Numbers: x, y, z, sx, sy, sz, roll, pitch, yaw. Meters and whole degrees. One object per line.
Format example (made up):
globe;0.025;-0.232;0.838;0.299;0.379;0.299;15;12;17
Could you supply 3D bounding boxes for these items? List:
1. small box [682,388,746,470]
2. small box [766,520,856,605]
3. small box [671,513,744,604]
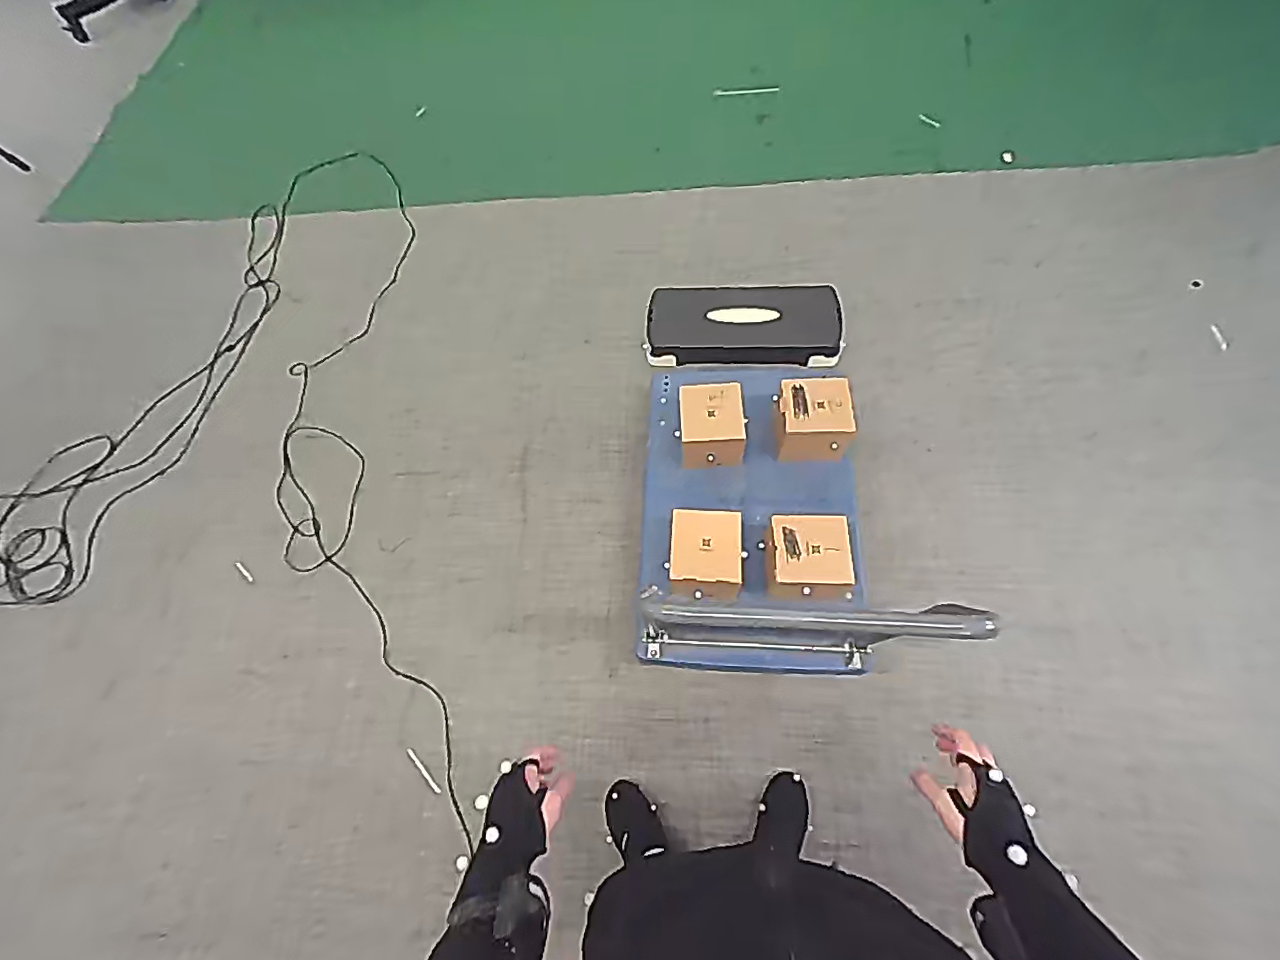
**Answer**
small box;0.200;-0.134;1.494;0.168;0.176;0.179;-2;64;4
small box;0.405;0.204;1.316;0.179;0.176;0.168;1;65;4
small box;0.165;0.197;1.342;0.168;0.176;0.179;3;65;5
